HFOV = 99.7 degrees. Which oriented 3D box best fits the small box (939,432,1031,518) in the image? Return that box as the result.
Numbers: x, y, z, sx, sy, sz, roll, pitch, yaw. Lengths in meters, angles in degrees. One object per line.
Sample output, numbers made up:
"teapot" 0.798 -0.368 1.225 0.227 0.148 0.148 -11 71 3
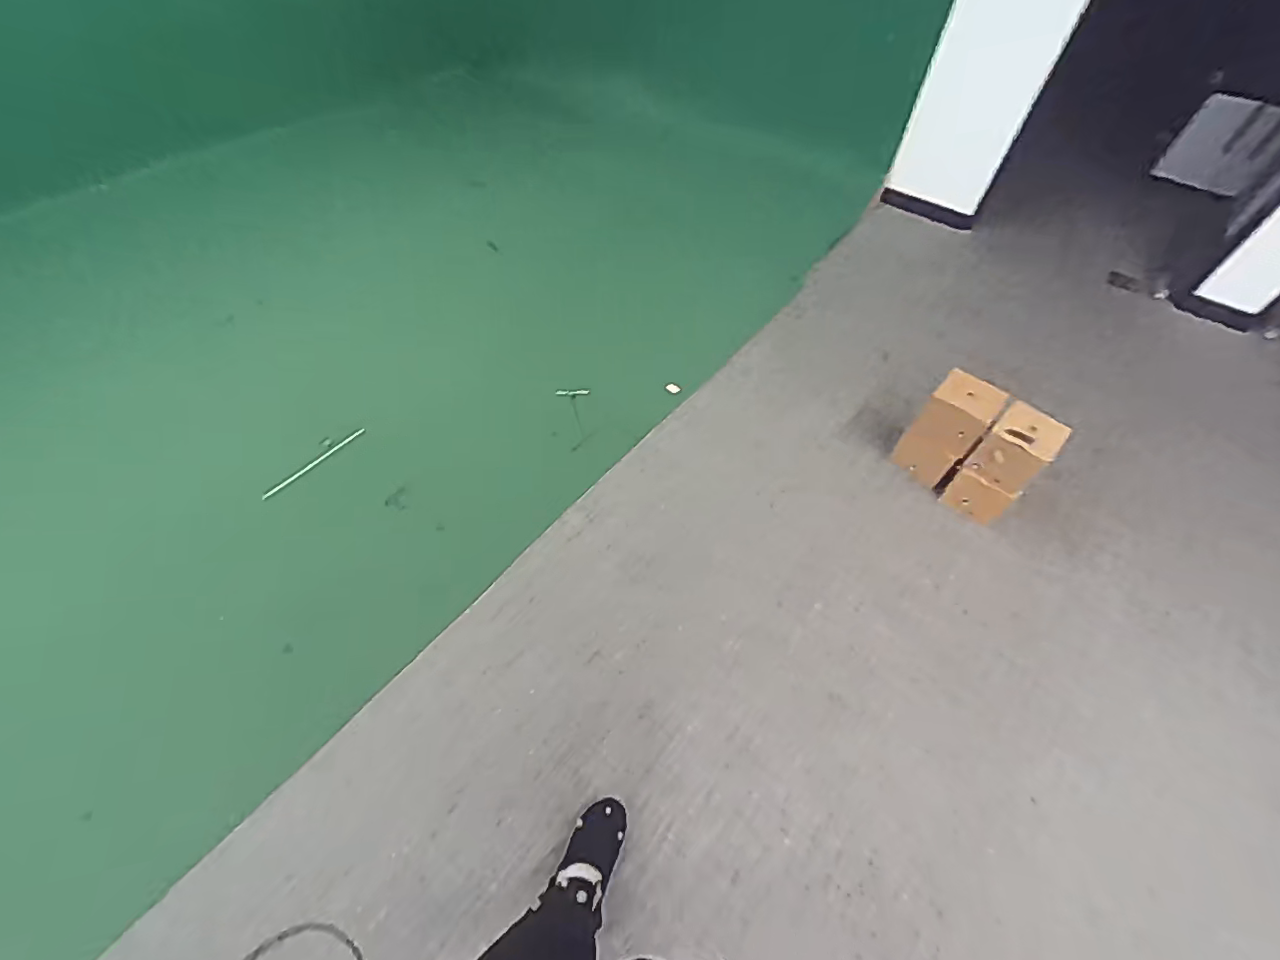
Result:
"small box" 1.095 -0.012 1.729 0.168 0.176 0.179 34 62 20
